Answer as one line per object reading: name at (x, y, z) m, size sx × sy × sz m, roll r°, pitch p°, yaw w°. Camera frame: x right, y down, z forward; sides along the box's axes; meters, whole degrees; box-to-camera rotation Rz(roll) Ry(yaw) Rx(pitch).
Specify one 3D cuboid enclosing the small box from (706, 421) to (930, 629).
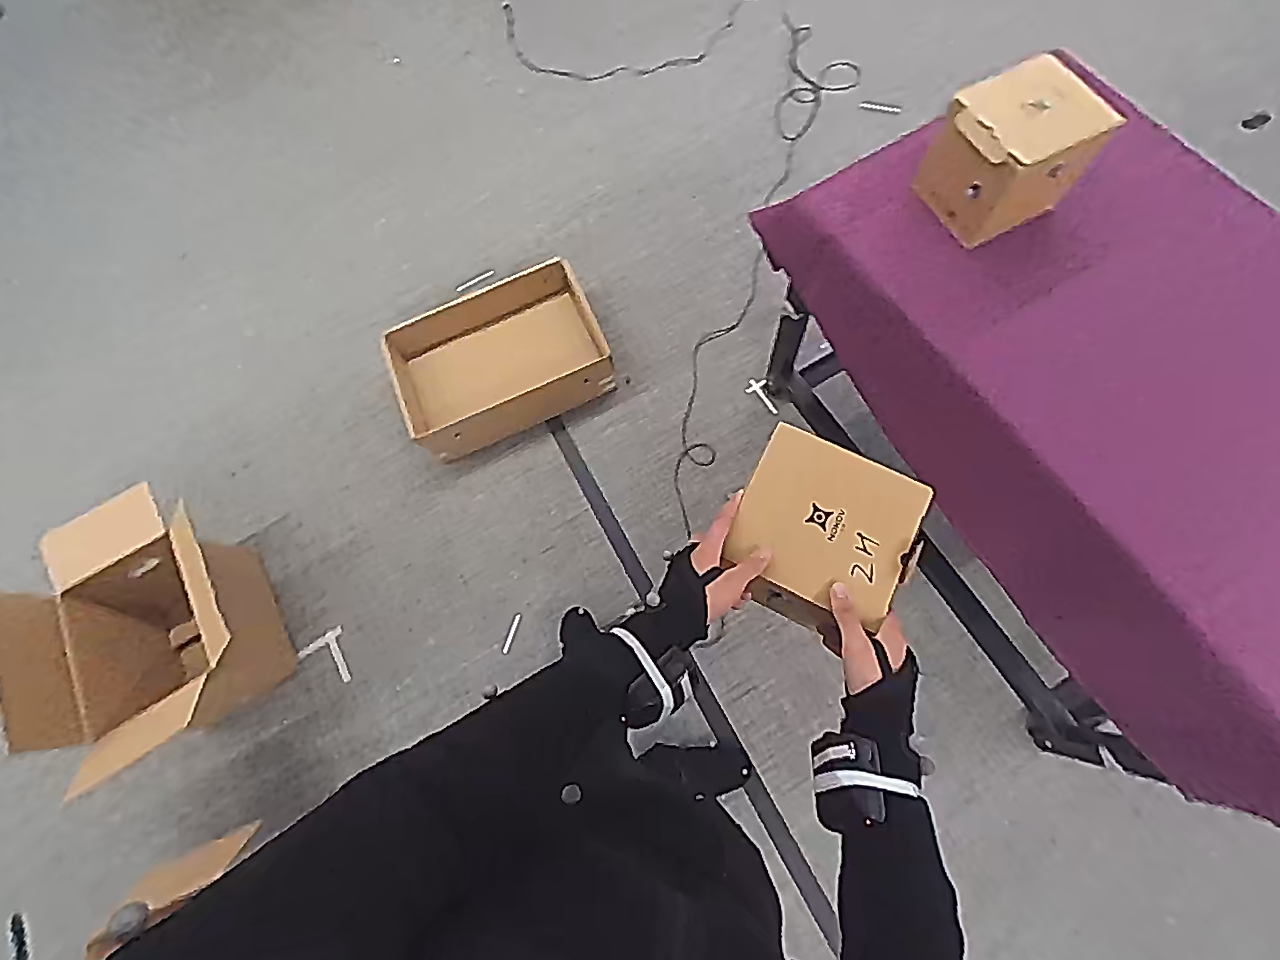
small box at (0.189, 0.064, 0.628) m, size 0.179 × 0.176 × 0.168 m, roll 26°, pitch 76°, yaw 9°

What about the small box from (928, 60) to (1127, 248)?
small box at (0.600, -0.514, 0.874) m, size 0.179 × 0.176 × 0.168 m, roll -25°, pitch 72°, yaw -3°
